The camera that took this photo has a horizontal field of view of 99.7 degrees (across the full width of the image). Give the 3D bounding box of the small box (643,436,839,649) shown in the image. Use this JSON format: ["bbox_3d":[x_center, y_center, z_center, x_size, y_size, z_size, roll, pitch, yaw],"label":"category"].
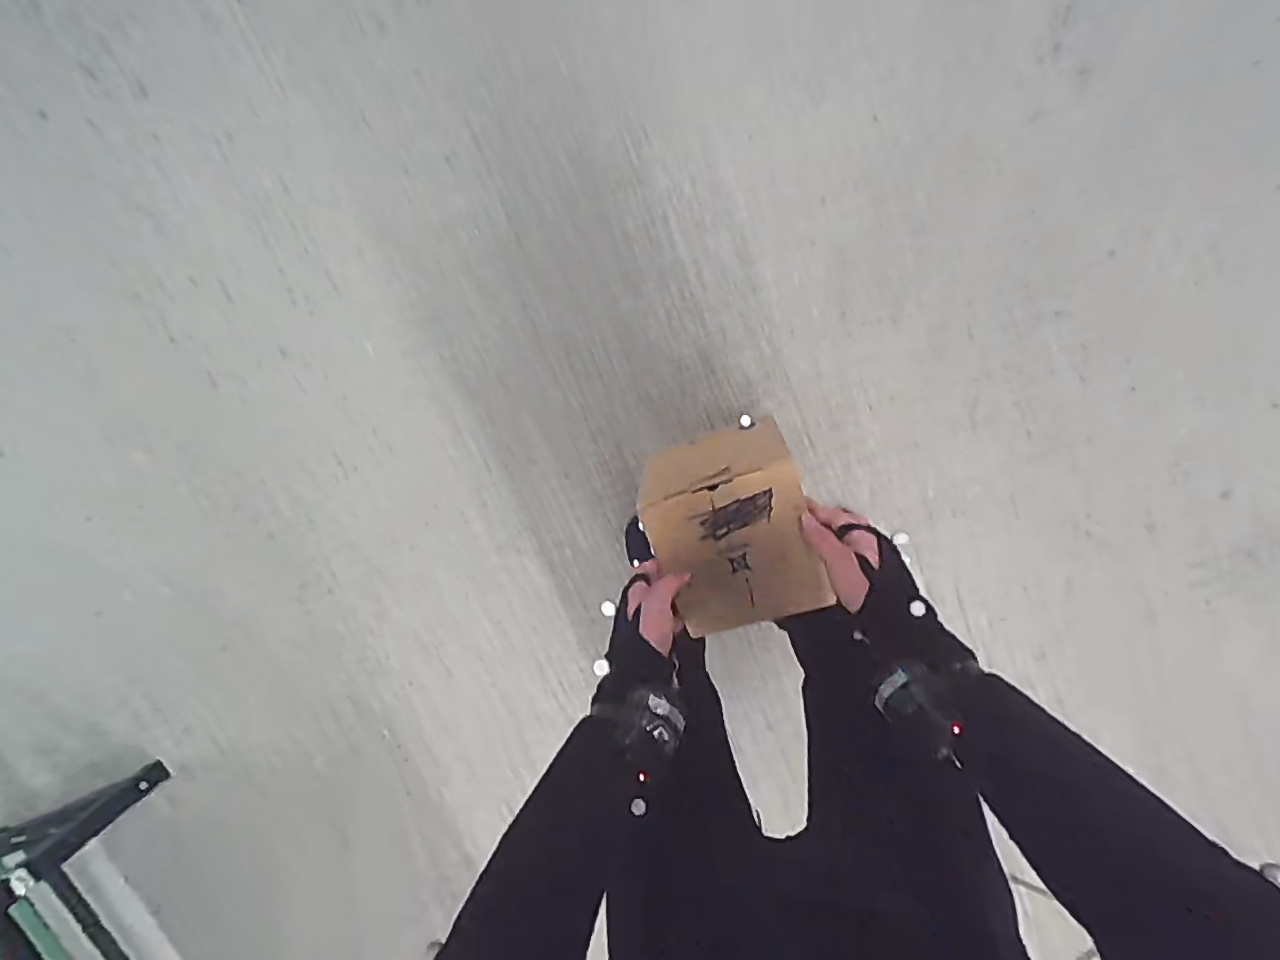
[{"bbox_3d":[0.114,0.062,0.639,0.168,0.176,0.179,-18,110,14],"label":"small box"}]
